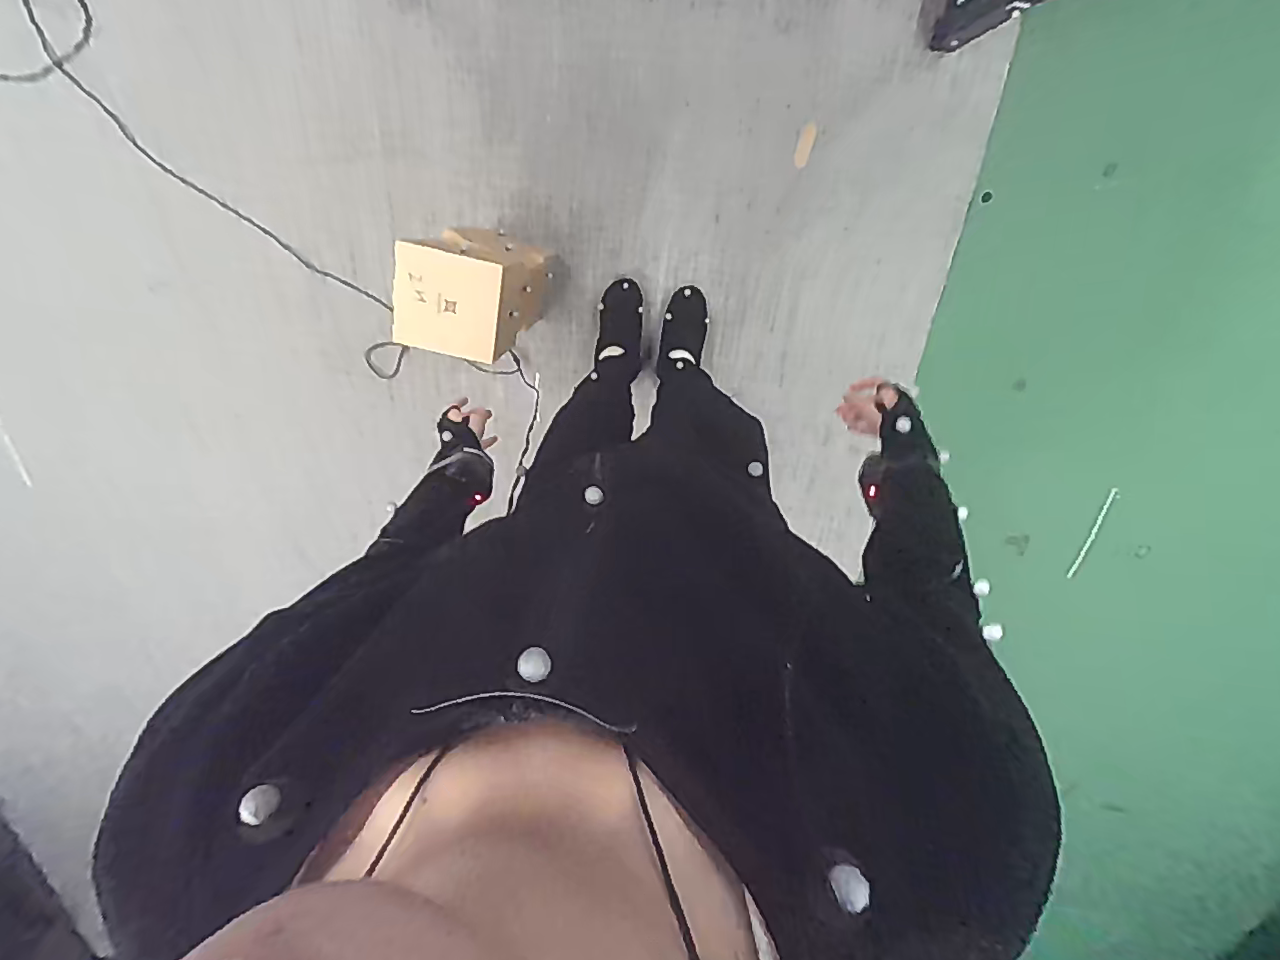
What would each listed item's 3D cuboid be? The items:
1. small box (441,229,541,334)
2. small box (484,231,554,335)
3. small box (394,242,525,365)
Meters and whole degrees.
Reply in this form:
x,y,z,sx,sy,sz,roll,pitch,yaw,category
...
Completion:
x,y,z,sx,sy,sz,roll,pitch,yaw,category
-0.319,-0.393,1.110,0.168,0.176,0.179,24,113,-9,small box
-0.307,-0.463,1.255,0.168,0.176,0.179,19,115,-7,small box
-0.313,-0.320,0.962,0.179,0.176,0.168,13,114,-4,small box
